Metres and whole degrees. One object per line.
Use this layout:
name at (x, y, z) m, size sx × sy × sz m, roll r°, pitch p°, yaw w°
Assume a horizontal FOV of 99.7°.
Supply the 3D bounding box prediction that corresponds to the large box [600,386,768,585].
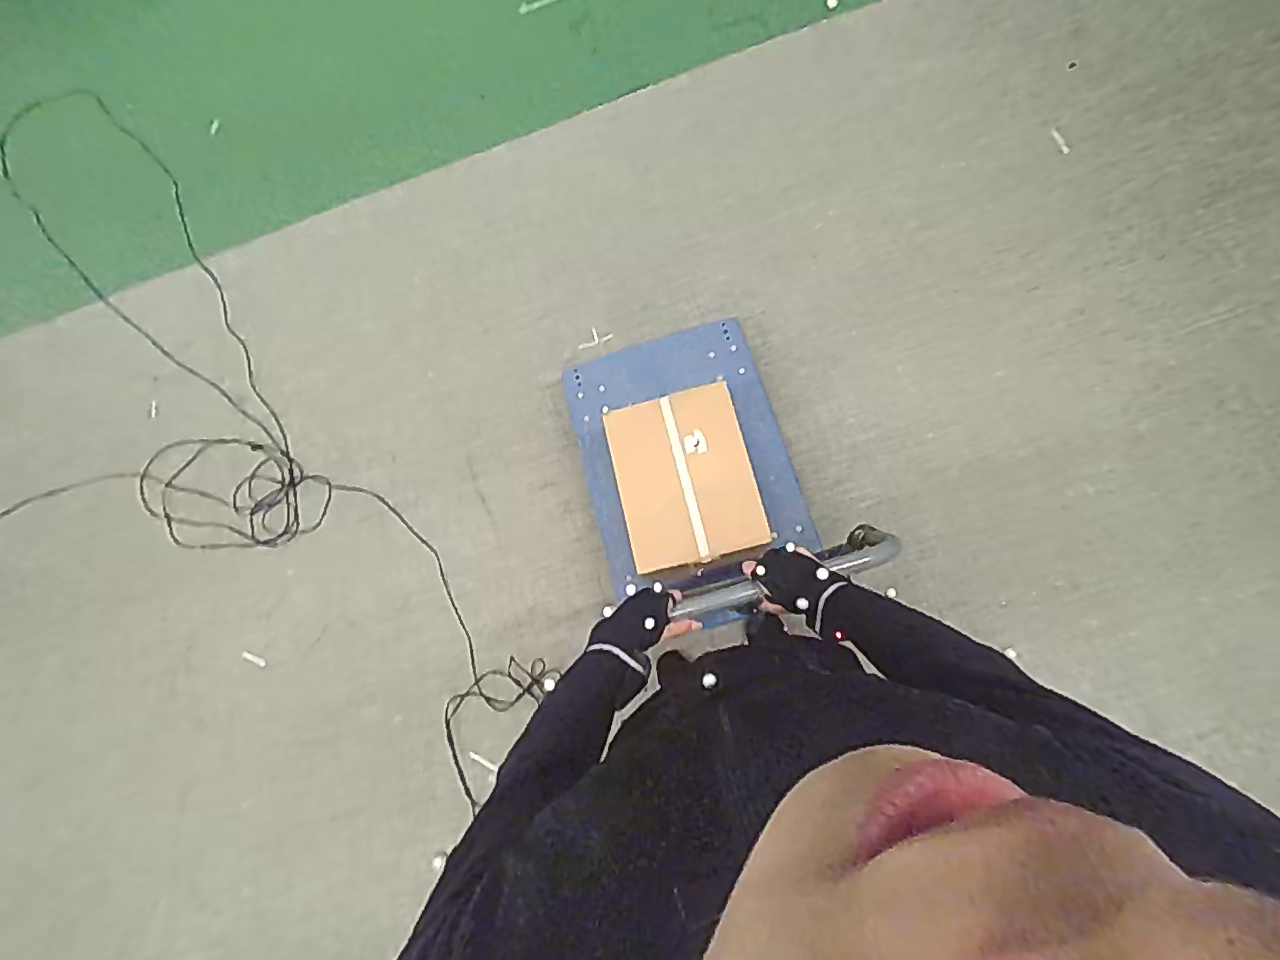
large box at (0.114, 0.031, 1.403) m, size 0.320 × 0.320 × 0.408 m, roll -14°, pitch 73°, yaw 3°
